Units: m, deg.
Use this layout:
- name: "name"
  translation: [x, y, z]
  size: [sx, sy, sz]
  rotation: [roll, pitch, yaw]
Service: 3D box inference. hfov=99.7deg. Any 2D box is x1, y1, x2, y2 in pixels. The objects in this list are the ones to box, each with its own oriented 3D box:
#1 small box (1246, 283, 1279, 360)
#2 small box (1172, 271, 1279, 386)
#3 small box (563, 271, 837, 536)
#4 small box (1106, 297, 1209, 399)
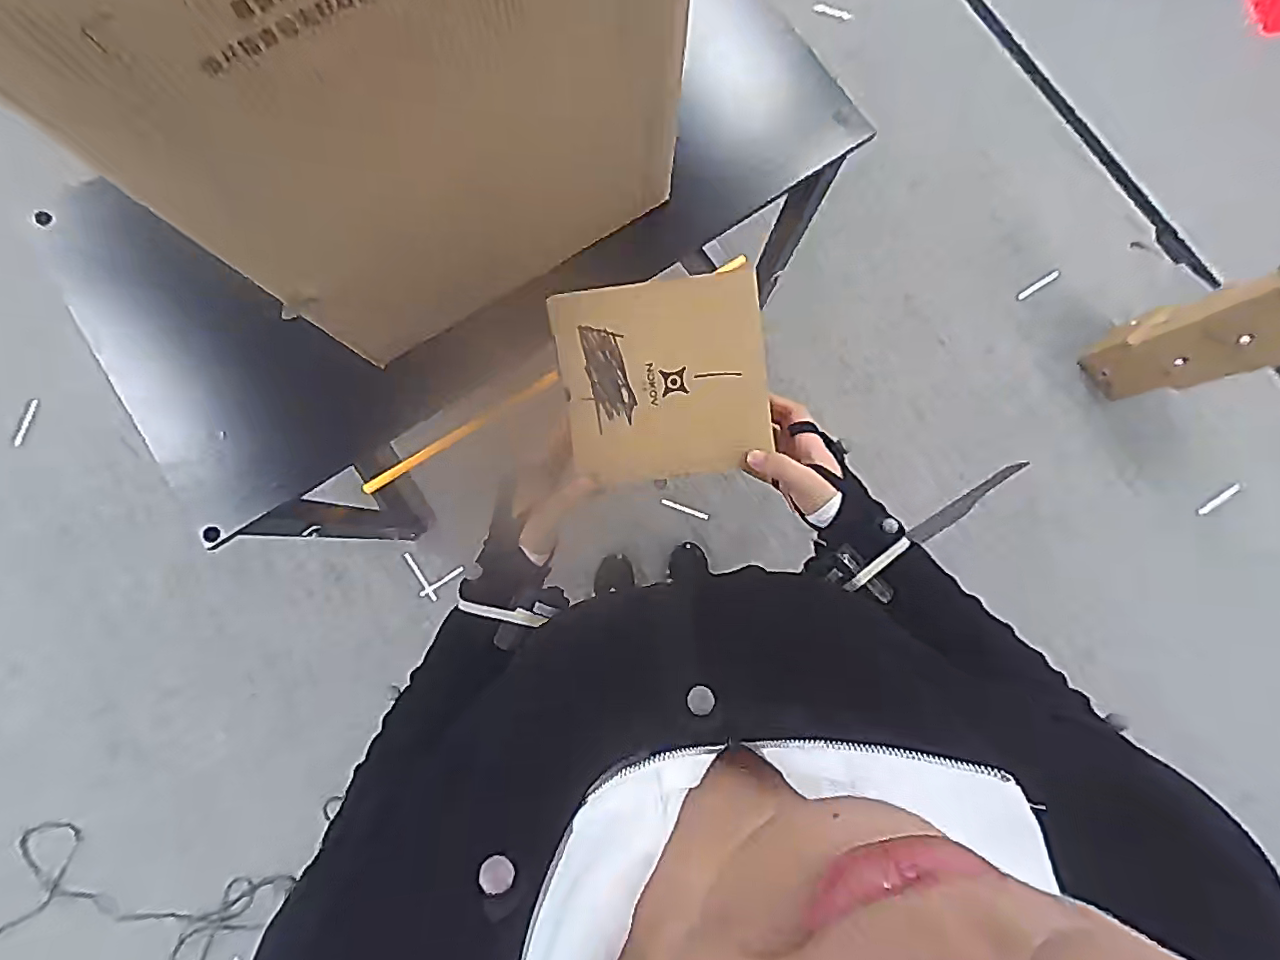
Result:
- name: "small box"
  translation: [1.449, -0.365, 1.120]
  size: [0.179, 0.176, 0.168]
  rotation: [-36, 84, -5]
- name: "small box"
  translation: [1.438, -0.350, 1.285]
  size: [0.179, 0.176, 0.168]
  rotation: [-41, 86, -5]
- name: "small box"
  translation: [0.042, -0.060, 0.454]
  size: [0.179, 0.176, 0.168]
  rotation: [-9, 98, -1]
- name: "small box"
  translation: [1.425, -0.347, 1.449]
  size: [0.179, 0.176, 0.168]
  rotation: [-40, 85, -4]
